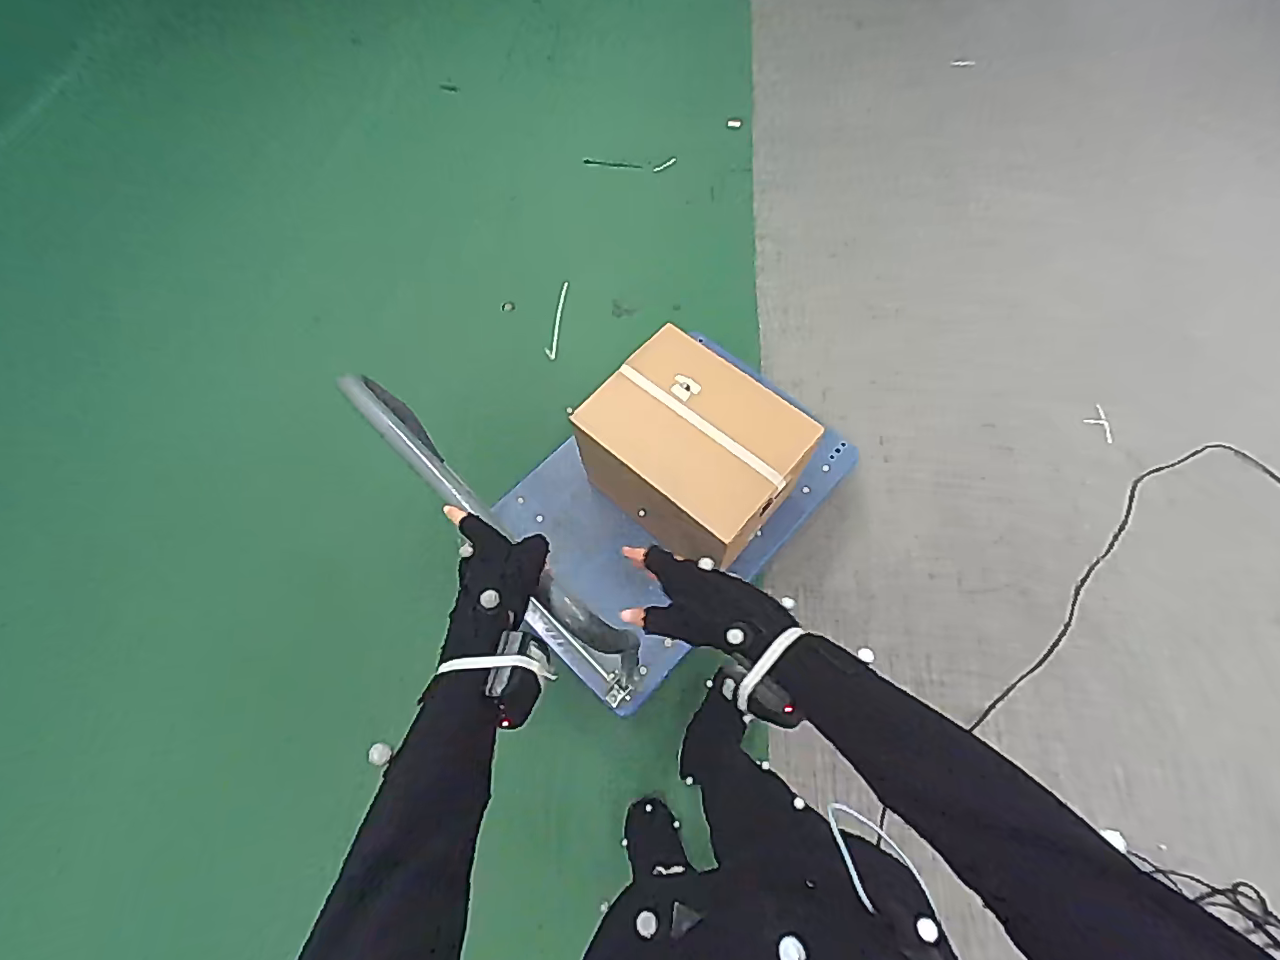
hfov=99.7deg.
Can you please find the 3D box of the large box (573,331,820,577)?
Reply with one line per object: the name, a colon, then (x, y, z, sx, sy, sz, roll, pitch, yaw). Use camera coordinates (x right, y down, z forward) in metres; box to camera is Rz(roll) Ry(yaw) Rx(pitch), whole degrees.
large box: (0.118, -0.047, 1.215, 0.408, 0.320, 0.320, 38, 72, 18)
